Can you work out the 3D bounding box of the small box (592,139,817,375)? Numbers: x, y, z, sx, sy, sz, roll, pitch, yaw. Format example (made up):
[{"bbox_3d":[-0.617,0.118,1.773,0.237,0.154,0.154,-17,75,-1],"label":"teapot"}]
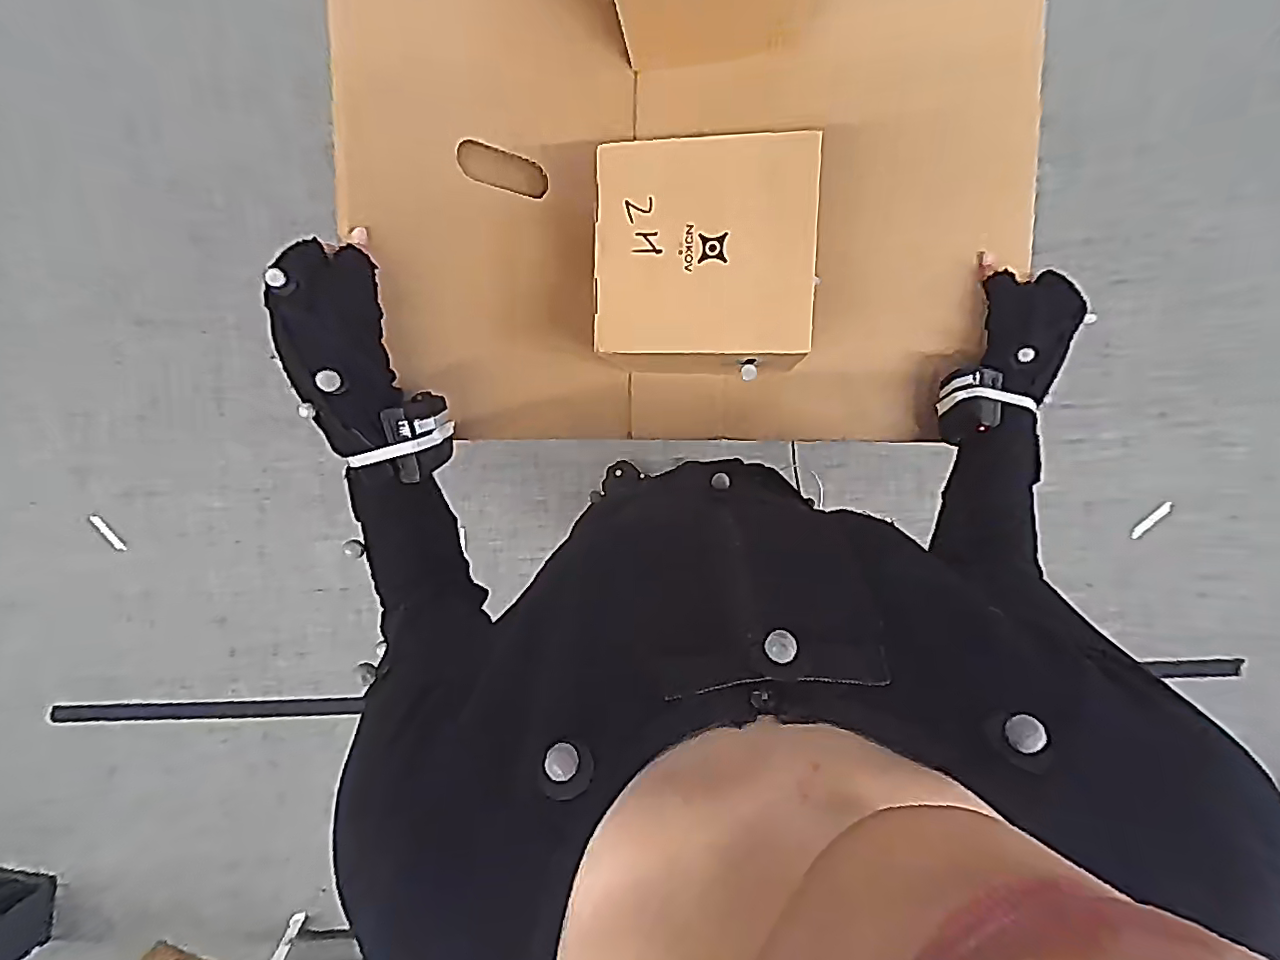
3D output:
[{"bbox_3d":[0.060,-0.193,0.514,0.179,0.176,0.168,3,95,10],"label":"small box"}]

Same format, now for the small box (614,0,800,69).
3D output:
[{"bbox_3d":[0.060,-0.512,0.488,0.179,0.176,0.168,0,95,9],"label":"small box"}]
